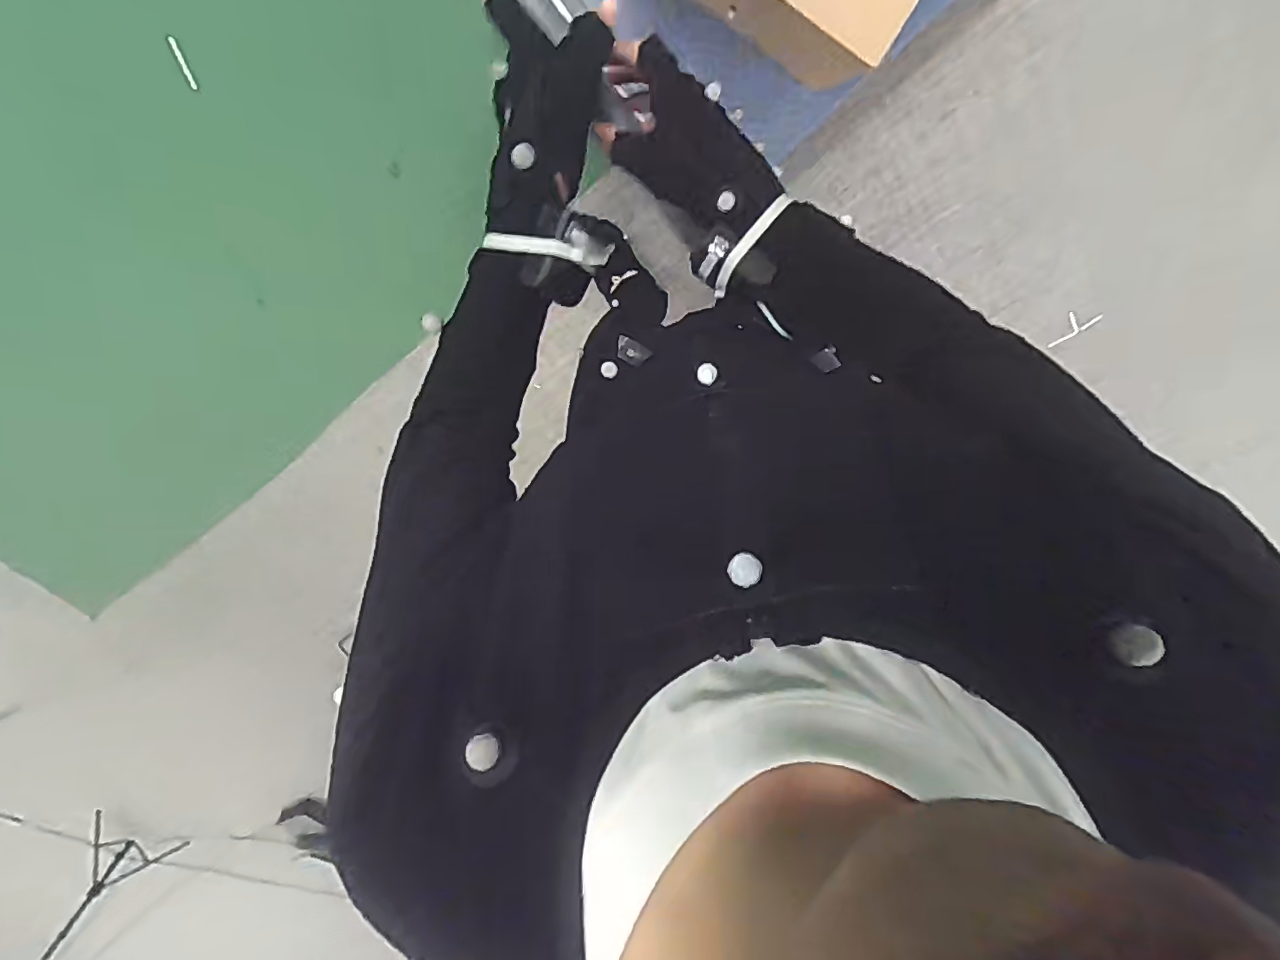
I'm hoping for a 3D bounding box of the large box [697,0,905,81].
[{"bbox_3d":[0.207,-0.830,0.738,0.408,0.320,0.320,26,119,-13],"label":"large box"}]
